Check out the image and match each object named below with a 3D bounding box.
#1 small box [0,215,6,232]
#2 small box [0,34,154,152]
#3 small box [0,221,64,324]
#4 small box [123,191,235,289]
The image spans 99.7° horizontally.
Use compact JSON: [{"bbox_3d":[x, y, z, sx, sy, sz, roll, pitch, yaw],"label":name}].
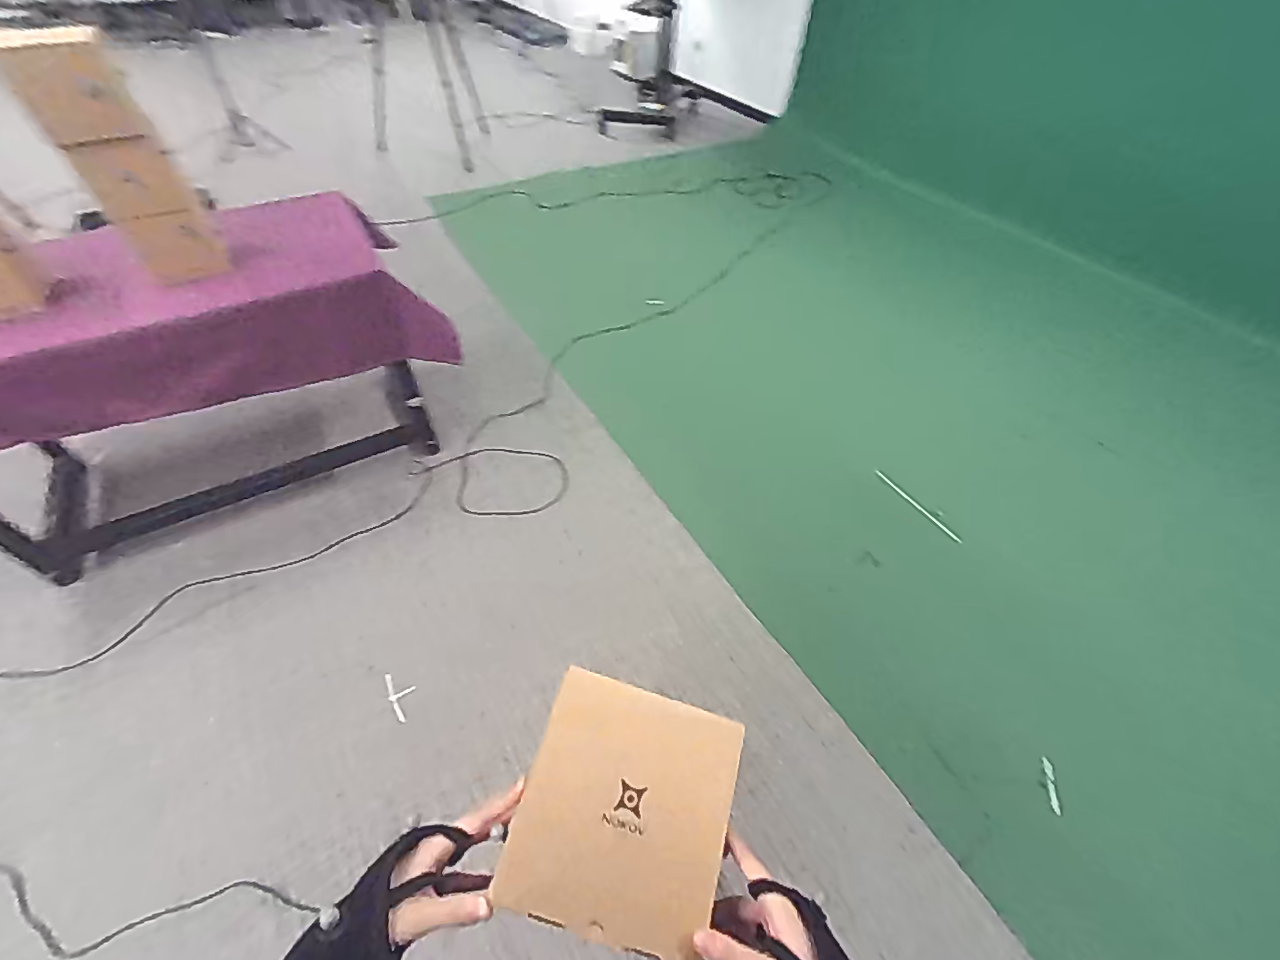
[{"bbox_3d":[-1.545,-0.589,1.160,0.179,0.176,0.168,-21,53,-20],"label":"small box"},{"bbox_3d":[-1.198,-0.833,1.165,0.179,0.176,0.168,-23,53,-19],"label":"small box"},{"bbox_3d":[-1.540,-0.486,1.289,0.168,0.176,0.179,-23,53,-21],"label":"small box"},{"bbox_3d":[-1.201,-0.631,1.424,0.179,0.176,0.168,-22,53,-20],"label":"small box"}]
